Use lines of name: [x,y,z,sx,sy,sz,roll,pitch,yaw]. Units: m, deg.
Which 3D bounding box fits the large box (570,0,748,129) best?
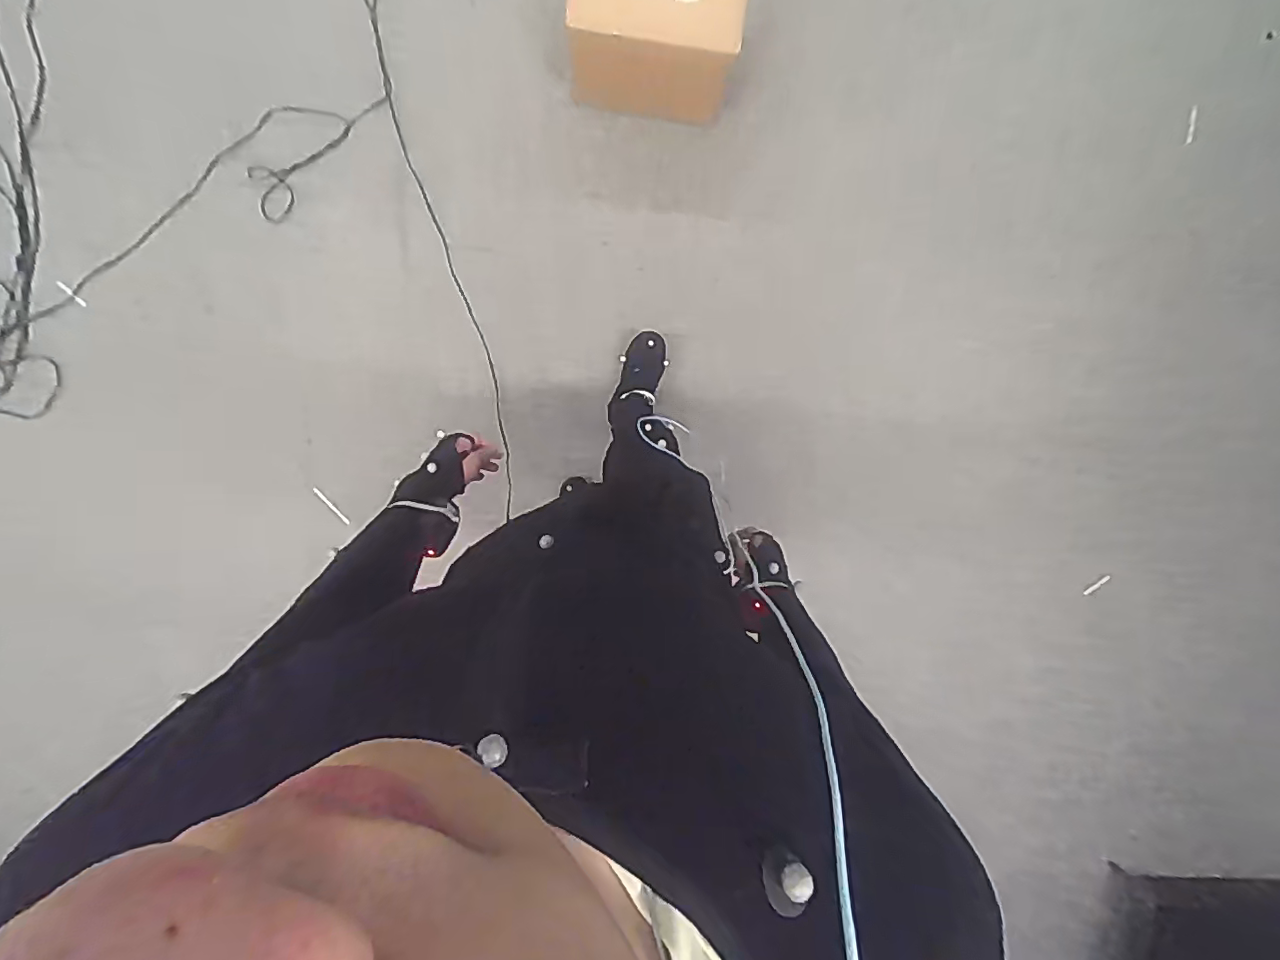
large box: [0.041,-1.153,1.369,0.408,0.320,0.320,6,95,-4]
